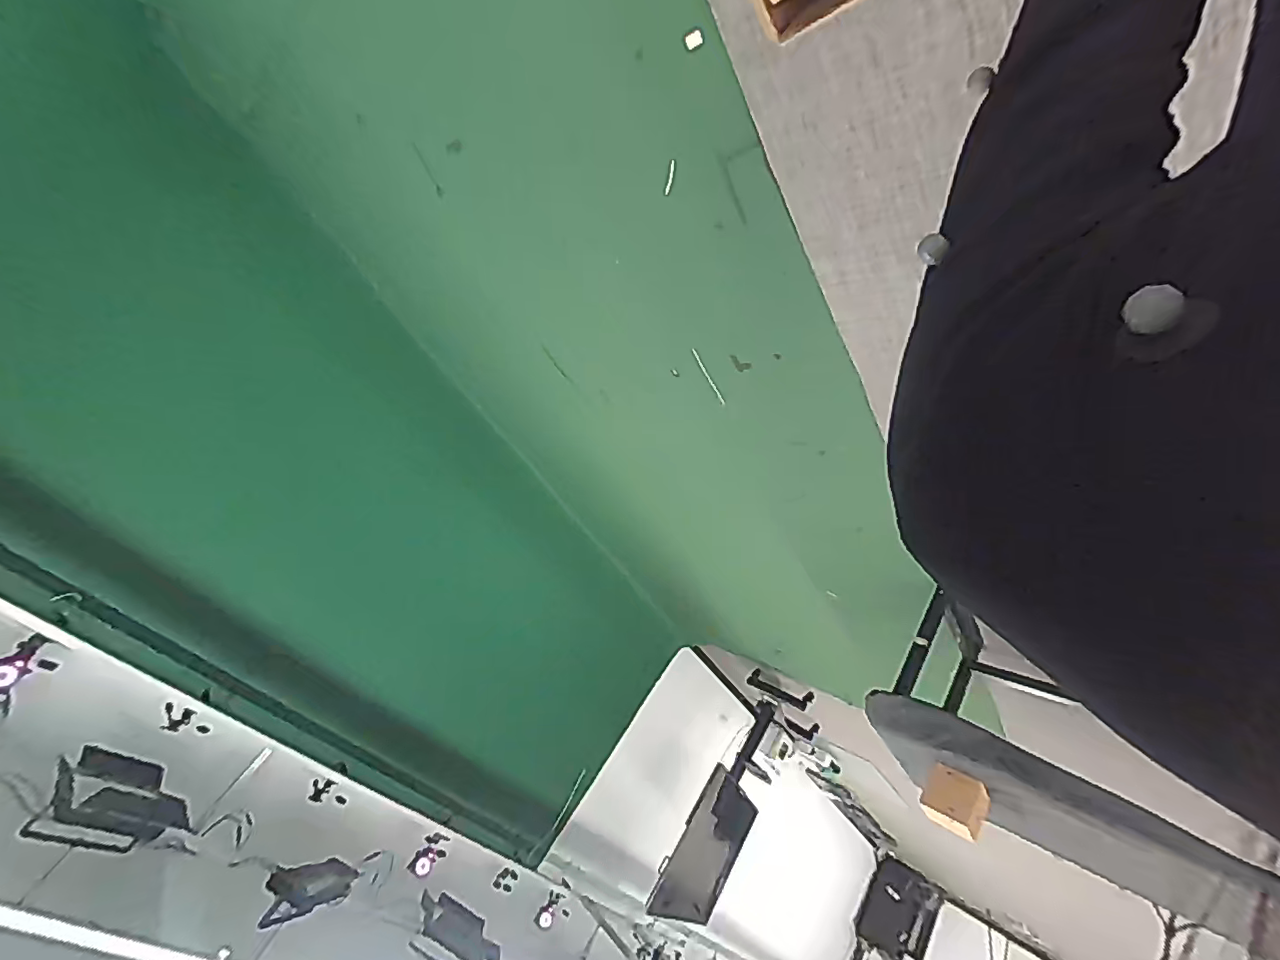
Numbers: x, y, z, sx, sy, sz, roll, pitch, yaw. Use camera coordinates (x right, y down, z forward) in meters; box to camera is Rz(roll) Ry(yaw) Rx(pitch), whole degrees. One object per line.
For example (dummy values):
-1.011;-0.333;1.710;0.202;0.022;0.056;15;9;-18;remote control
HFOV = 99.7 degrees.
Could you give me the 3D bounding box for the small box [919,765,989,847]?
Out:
1.152;1.186;1.975;0.168;0.176;0.179;8;143;48;small box
